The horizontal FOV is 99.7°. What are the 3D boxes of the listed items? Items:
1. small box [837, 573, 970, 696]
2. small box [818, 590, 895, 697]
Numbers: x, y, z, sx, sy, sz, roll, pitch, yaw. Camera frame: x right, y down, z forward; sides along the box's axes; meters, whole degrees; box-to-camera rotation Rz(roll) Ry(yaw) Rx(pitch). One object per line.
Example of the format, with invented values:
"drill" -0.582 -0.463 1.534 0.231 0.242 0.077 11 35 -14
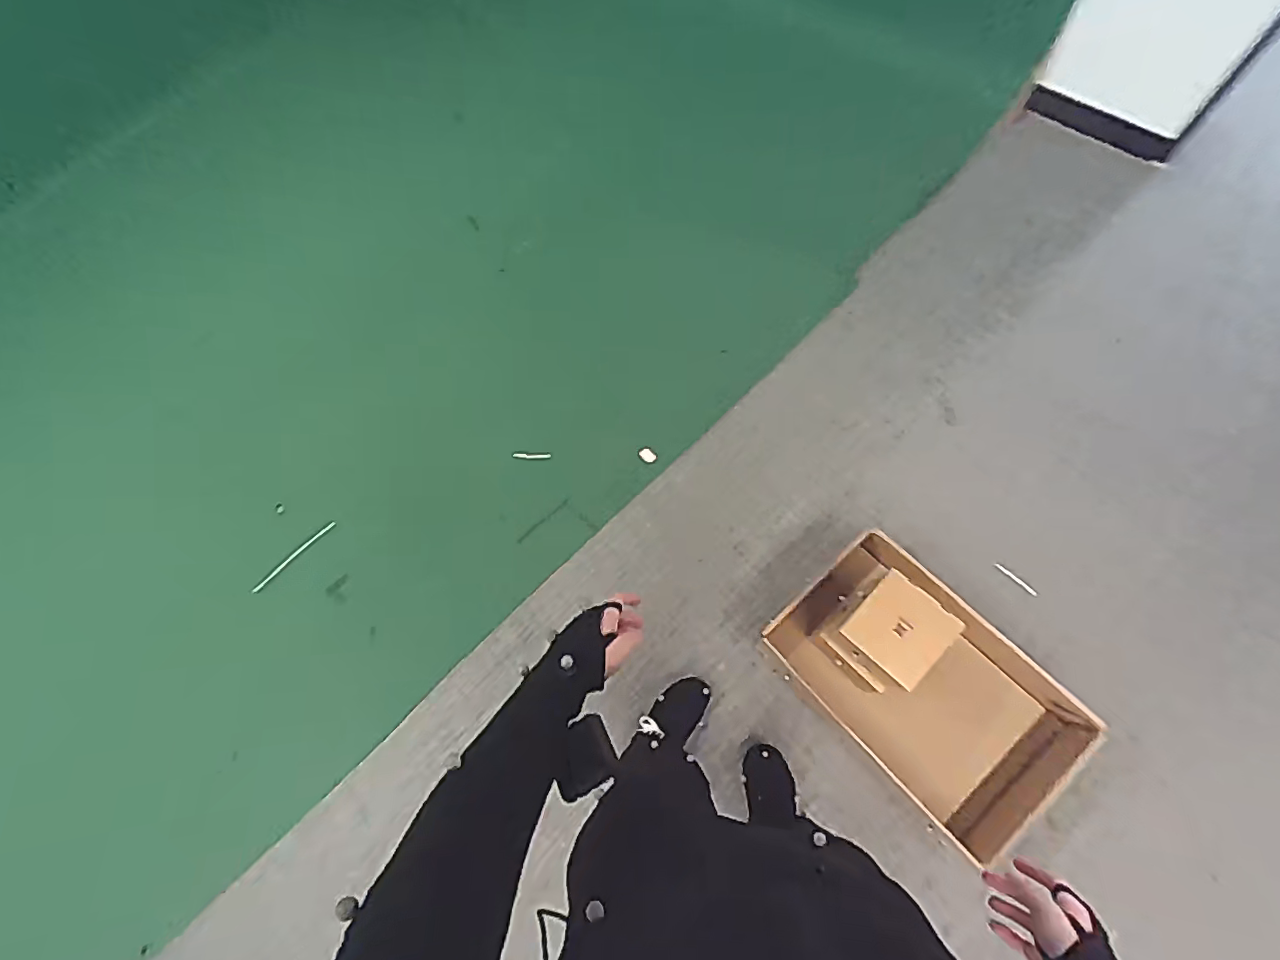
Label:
"small box" 0.533 0.325 1.127 0.168 0.176 0.179 42 81 20
"small box" 0.546 0.387 1.277 0.168 0.176 0.179 -43 72 -7
